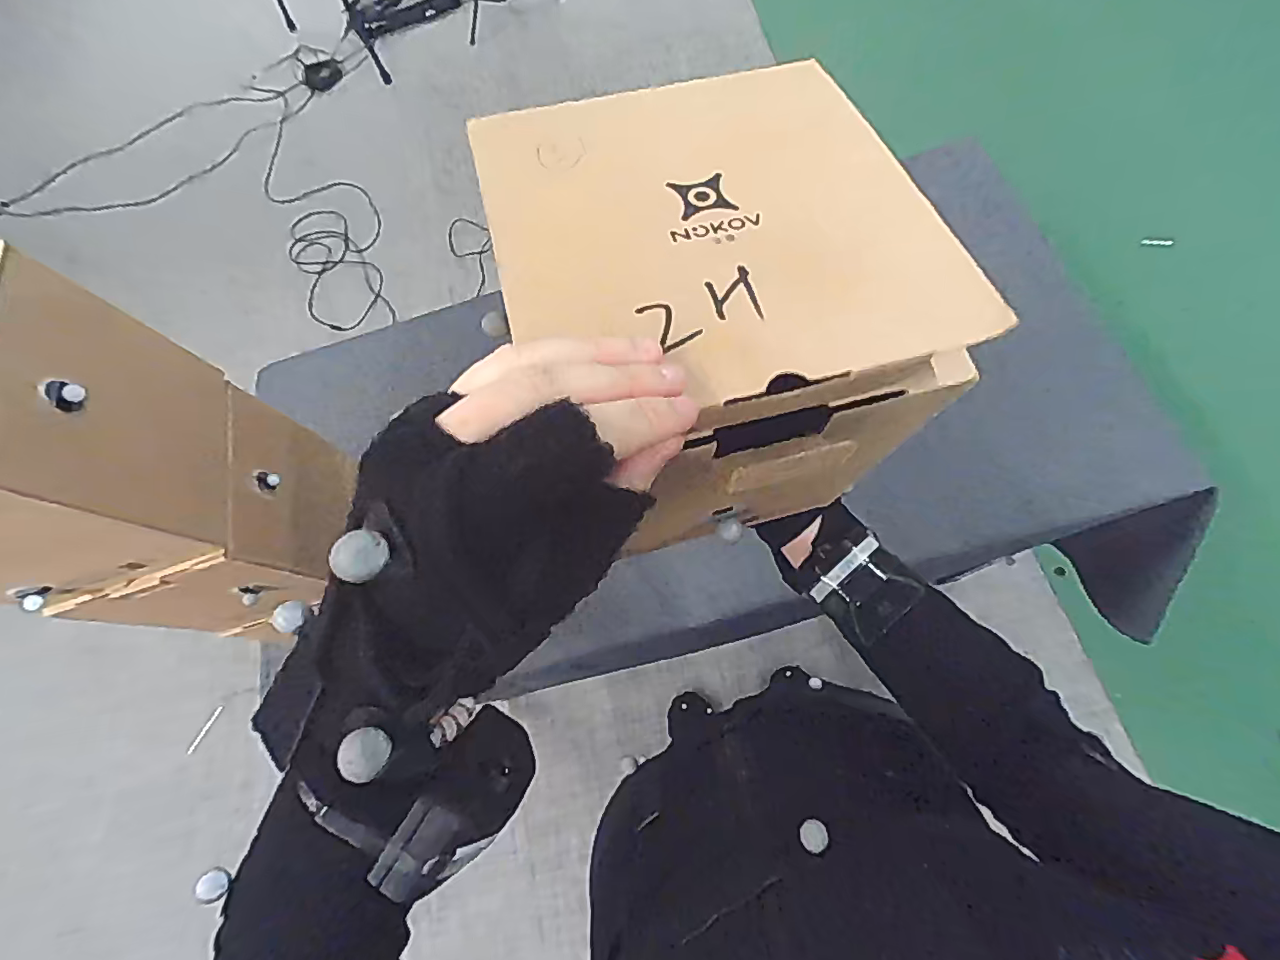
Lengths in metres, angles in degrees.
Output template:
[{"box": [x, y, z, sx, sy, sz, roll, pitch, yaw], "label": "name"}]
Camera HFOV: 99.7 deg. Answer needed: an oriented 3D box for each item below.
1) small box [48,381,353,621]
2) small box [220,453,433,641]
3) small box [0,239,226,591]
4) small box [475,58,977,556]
[{"box": [-0.414, 0.035, 0.542, 0.168, 0.176, 0.179, -17, 68, 3], "label": "small box"}, {"box": [-0.388, 0.094, 0.691, 0.168, 0.176, 0.179, -18, 68, 3], "label": "small box"}, {"box": [-0.443, -0.027, 0.392, 0.168, 0.176, 0.179, -18, 68, 2], "label": "small box"}, {"box": [0.023, -0.073, 0.291, 0.168, 0.176, 0.179, -13, 72, -5], "label": "small box"}]
